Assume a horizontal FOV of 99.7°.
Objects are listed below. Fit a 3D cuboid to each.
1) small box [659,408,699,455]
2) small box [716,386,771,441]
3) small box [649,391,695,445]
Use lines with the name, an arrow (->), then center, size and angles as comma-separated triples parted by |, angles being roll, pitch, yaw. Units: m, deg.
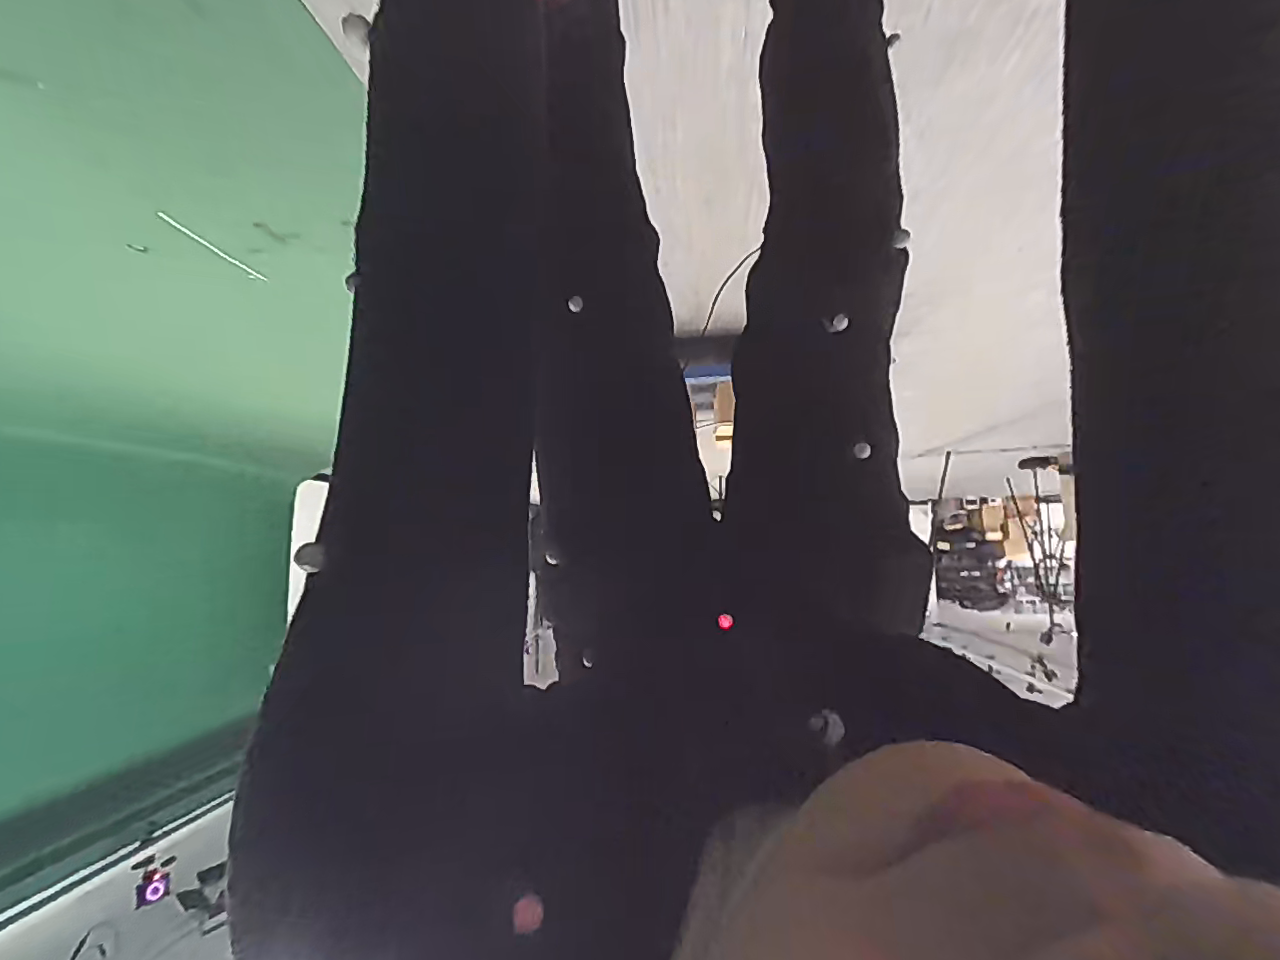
small box -> 0.166, -0.203, 2.291 | 0.168, 0.176, 0.179 | -2, 171, 5
small box -> 0.377, -0.246, 1.994 | 0.179, 0.176, 0.168 | -1, 172, 2
small box -> 0.120, -0.233, 2.031 | 0.168, 0.176, 0.179 | -2, 173, 4
